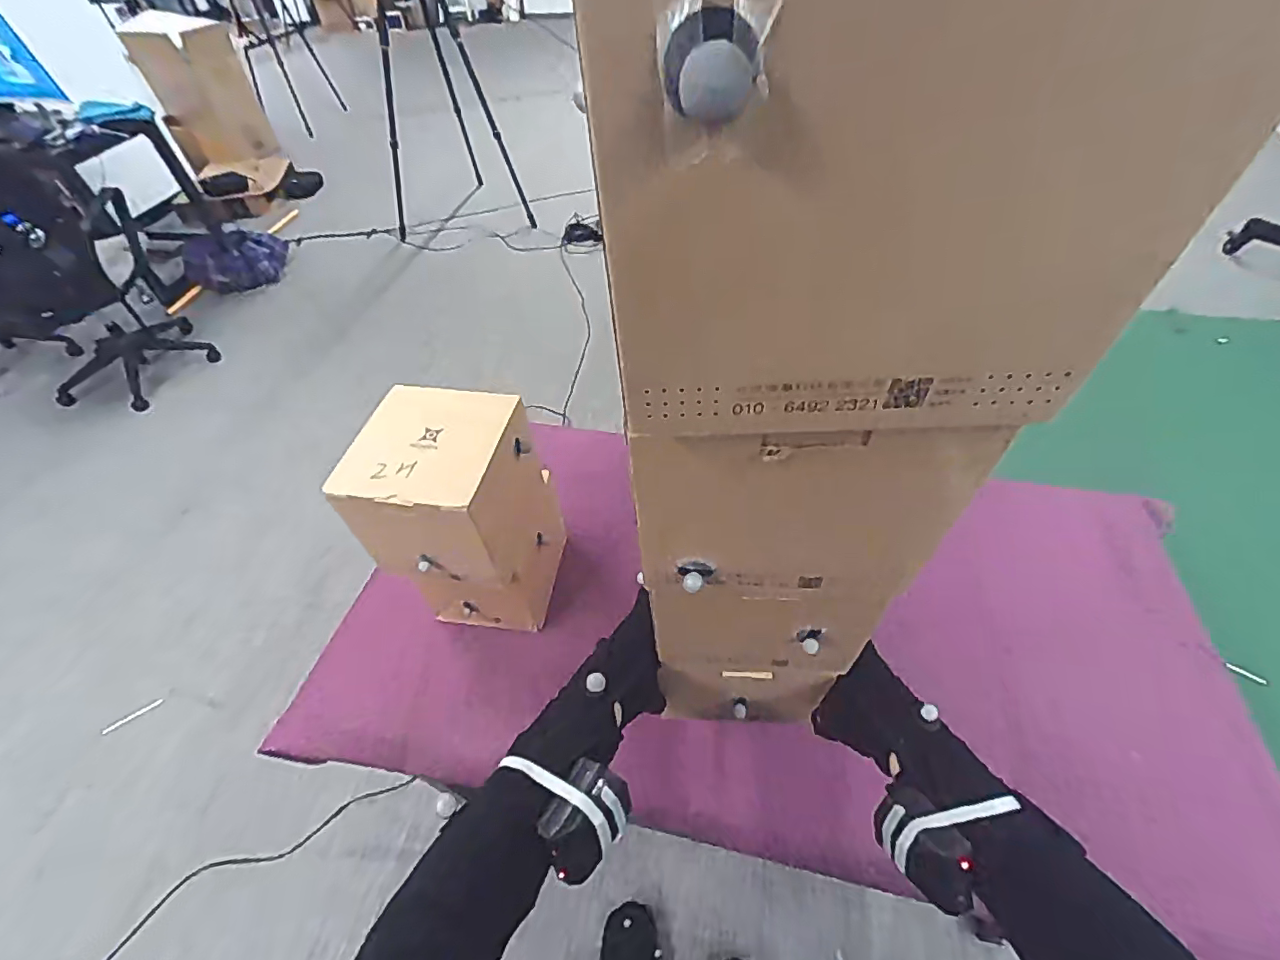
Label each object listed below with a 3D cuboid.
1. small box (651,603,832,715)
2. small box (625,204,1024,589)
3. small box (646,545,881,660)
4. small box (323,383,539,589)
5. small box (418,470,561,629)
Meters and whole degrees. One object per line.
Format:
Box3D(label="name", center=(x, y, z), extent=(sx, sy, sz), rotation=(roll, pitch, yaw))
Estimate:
Box3D(label="small box", center=(0.102, 0.152, 0.601), extent=(0.168, 0.176, 0.179), rotation=(-2, 51, 5))
Box3D(label="small box", center=(0.087, -0.046, 0.338), extent=(0.168, 0.176, 0.179), rotation=(2, 52, 5))
Box3D(label="small box", center=(0.097, 0.040, 0.457), extent=(0.168, 0.176, 0.179), rotation=(0, 52, 5))
Box3D(label="small box", center=(-0.231, 0.008, 0.658), extent=(0.168, 0.176, 0.179), rotation=(6, 51, 8))
Box3D(label="small box", center=(-0.219, 0.097, 0.798), extent=(0.168, 0.176, 0.179), rotation=(5, 51, 7))
